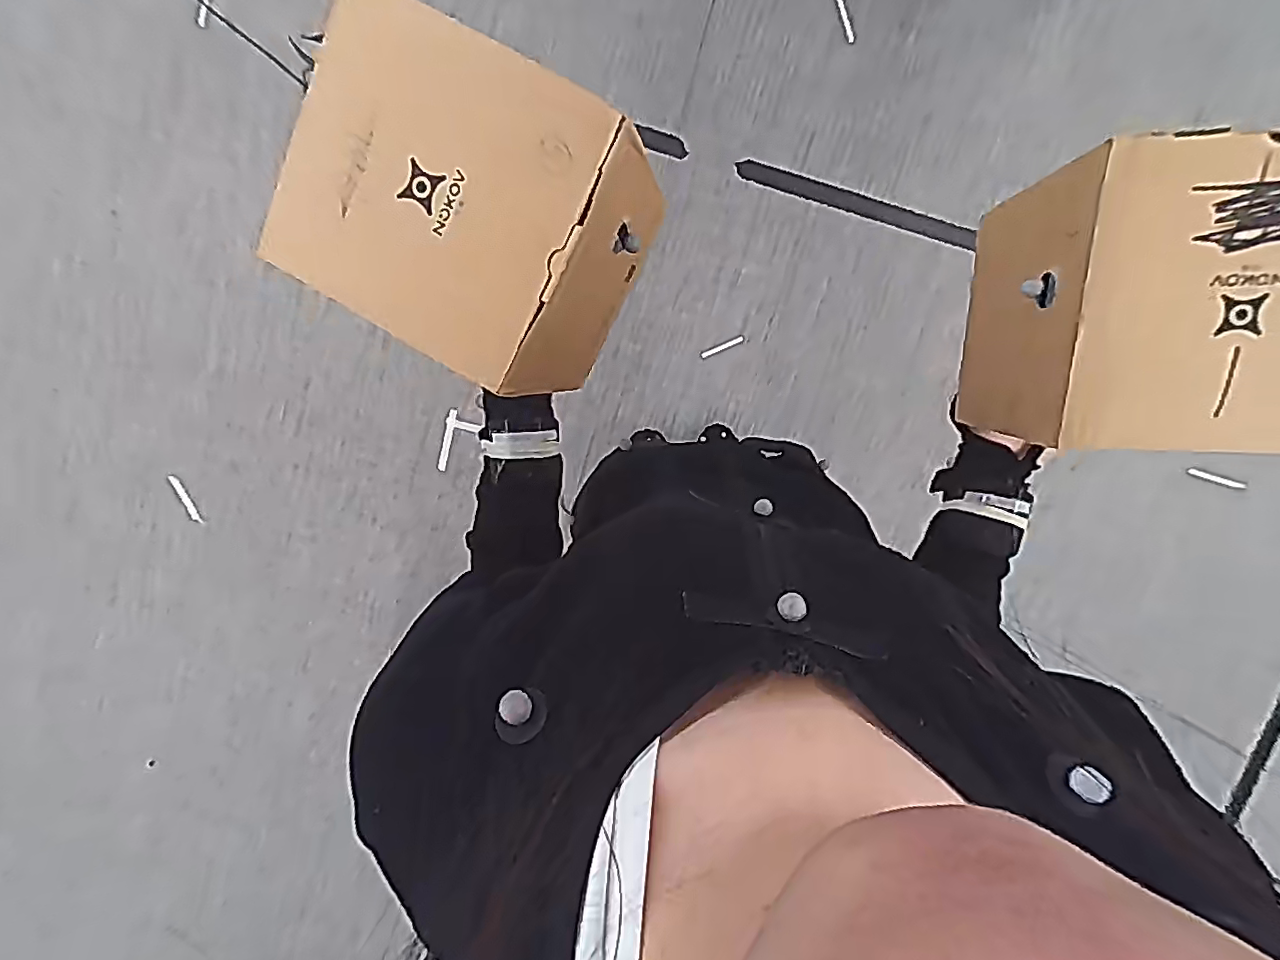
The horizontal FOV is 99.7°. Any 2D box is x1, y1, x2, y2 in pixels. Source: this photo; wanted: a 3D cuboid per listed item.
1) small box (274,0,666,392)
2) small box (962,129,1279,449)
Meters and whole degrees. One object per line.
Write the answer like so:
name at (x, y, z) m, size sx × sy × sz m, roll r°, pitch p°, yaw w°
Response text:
small box at (-0.097, -0.178, 0.381) m, size 0.179 × 0.176 × 0.168 m, roll 30°, pitch 104°, yaw 4°
small box at (0.354, -0.120, 0.384) m, size 0.168 × 0.176 × 0.179 m, roll 2°, pitch 102°, yaw 10°
